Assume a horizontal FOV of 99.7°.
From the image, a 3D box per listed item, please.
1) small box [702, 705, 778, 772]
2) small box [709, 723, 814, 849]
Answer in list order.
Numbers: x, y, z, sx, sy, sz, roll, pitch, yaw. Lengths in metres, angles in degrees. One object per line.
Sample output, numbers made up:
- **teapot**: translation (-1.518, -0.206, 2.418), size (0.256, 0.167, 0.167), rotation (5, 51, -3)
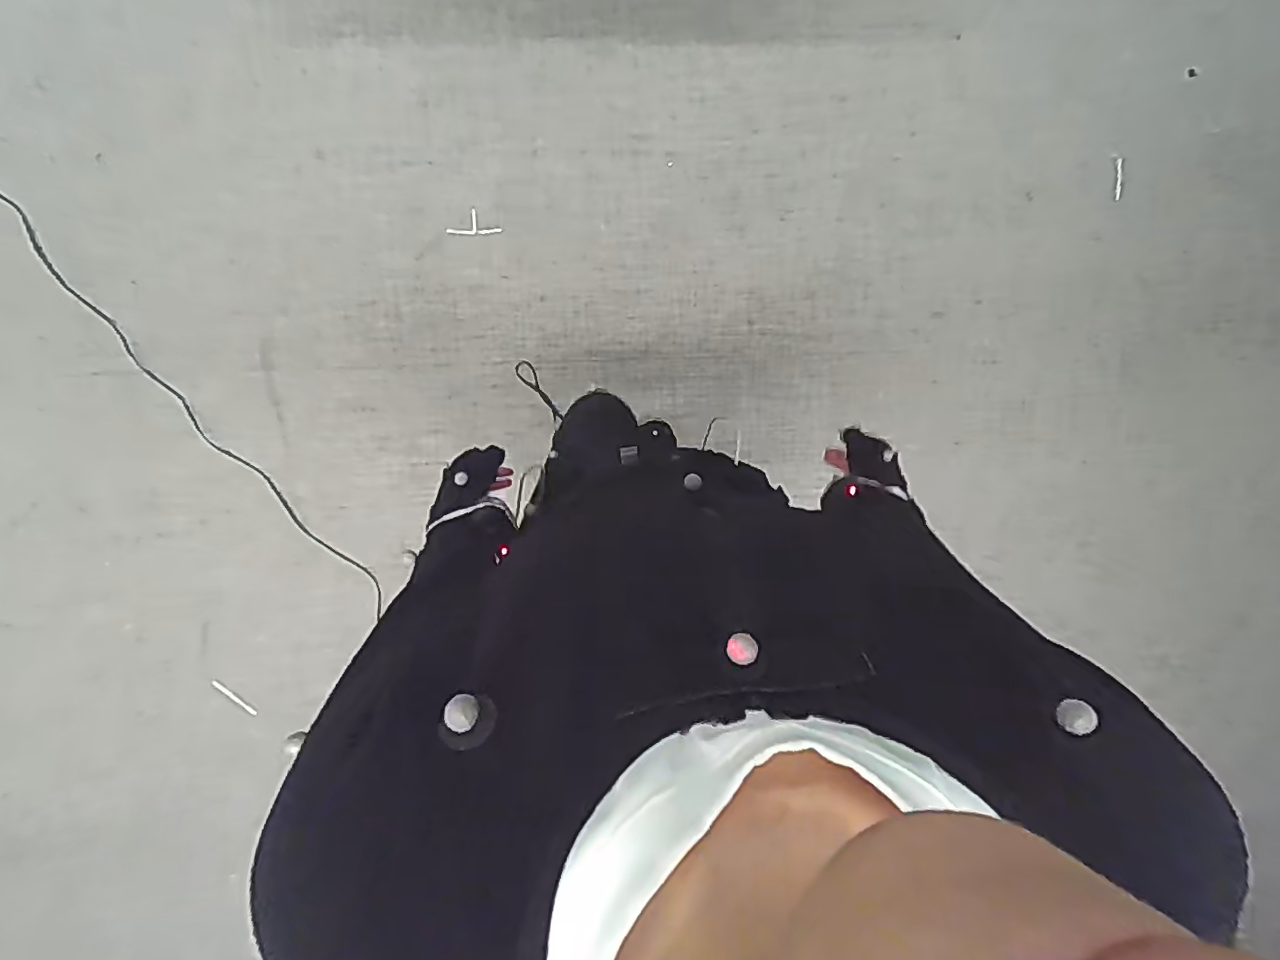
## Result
- **small box**: translation (0.269, 0.734, 1.461), size (0.179, 0.176, 0.168), rotation (-7, 96, -4)
- **small box**: translation (0.284, 0.731, 1.313), size (0.168, 0.176, 0.179), rotation (27, 94, -5)
